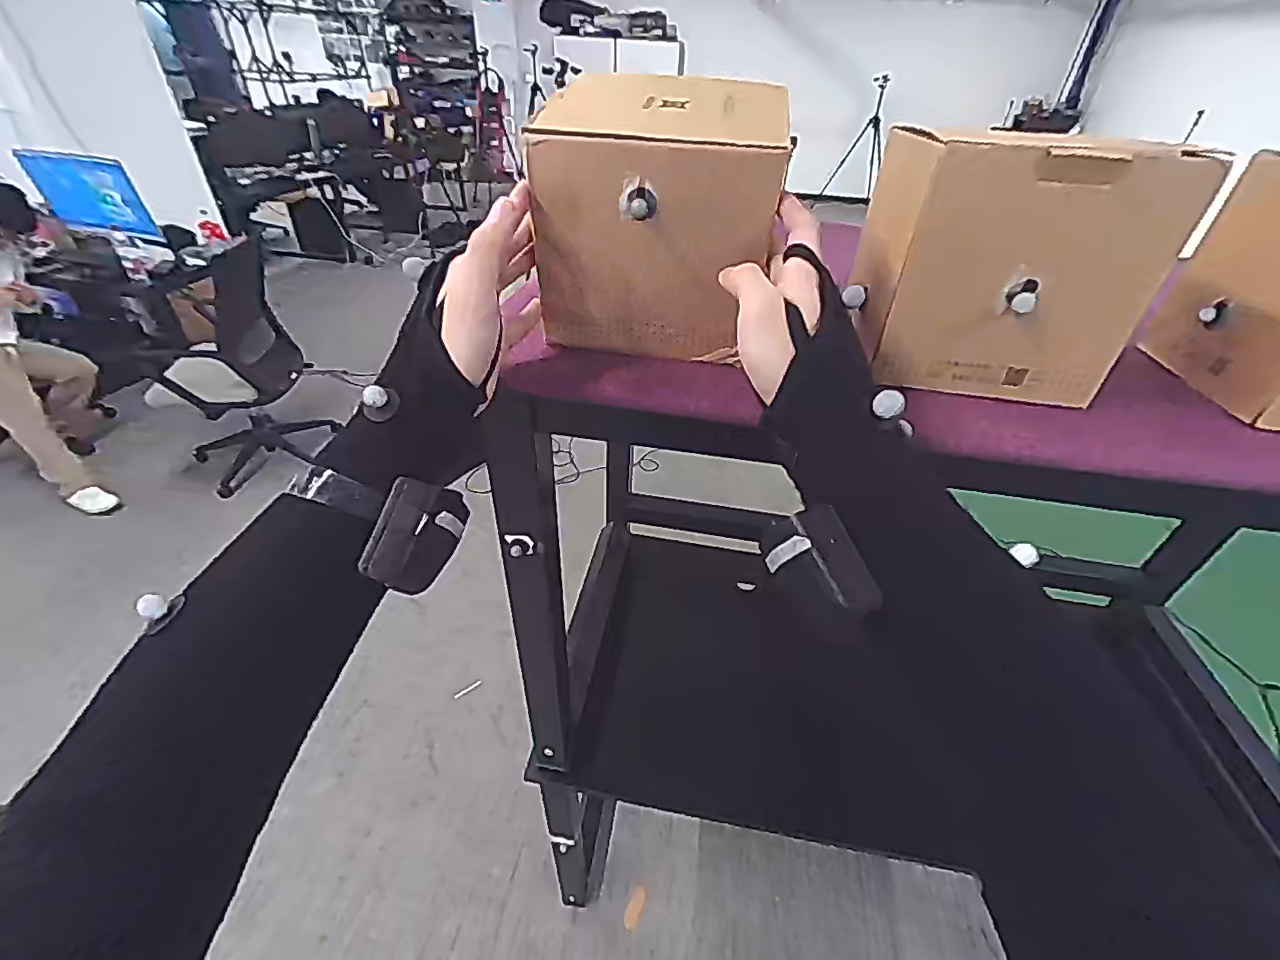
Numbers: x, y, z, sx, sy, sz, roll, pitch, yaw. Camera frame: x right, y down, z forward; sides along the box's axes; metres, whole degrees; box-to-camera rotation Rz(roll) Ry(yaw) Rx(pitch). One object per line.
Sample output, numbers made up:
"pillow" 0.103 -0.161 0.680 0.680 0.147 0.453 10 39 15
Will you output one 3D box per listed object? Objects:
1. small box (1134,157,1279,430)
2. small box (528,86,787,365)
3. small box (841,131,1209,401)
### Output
"small box" 0.556 -0.138 0.416 0.179 0.176 0.168 8 36 8
"small box" 0.021 -0.217 0.464 0.179 0.176 0.168 8 46 6
"small box" 0.278 -0.181 0.450 0.168 0.176 0.179 9 37 6
